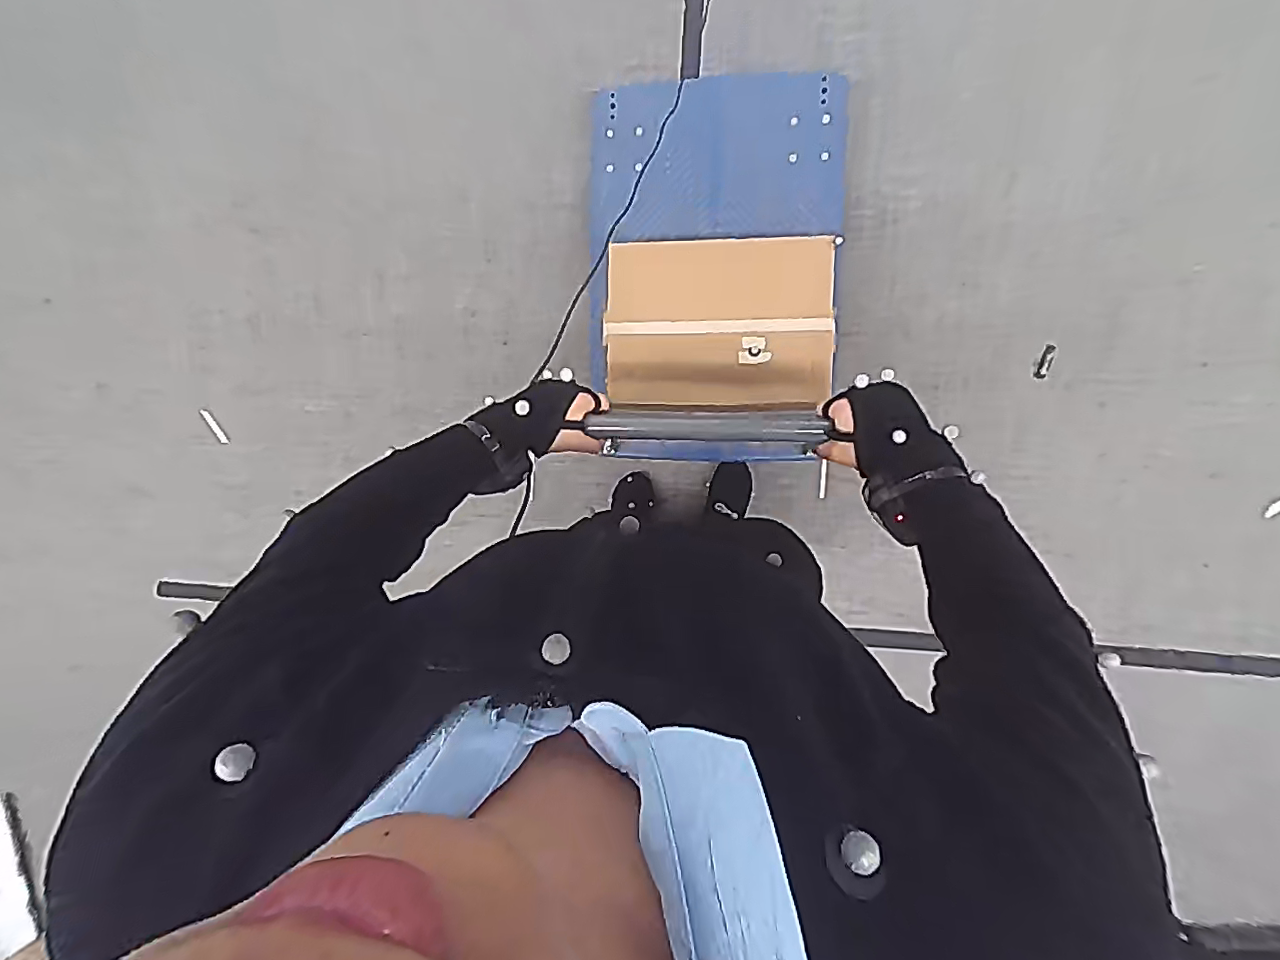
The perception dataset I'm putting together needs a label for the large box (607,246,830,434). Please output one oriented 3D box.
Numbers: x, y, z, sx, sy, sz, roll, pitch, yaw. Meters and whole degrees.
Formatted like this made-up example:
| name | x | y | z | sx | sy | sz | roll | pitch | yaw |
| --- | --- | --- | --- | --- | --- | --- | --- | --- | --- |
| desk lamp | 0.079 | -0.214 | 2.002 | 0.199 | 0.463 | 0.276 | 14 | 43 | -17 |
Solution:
| name | x | y | z | sx | sy | sz | roll | pitch | yaw |
| --- | --- | --- | --- | --- | --- | --- | --- | --- | --- |
| large box | 0.152 | -0.262 | 1.122 | 0.408 | 0.320 | 0.320 | 1 | 93 | 7 |
